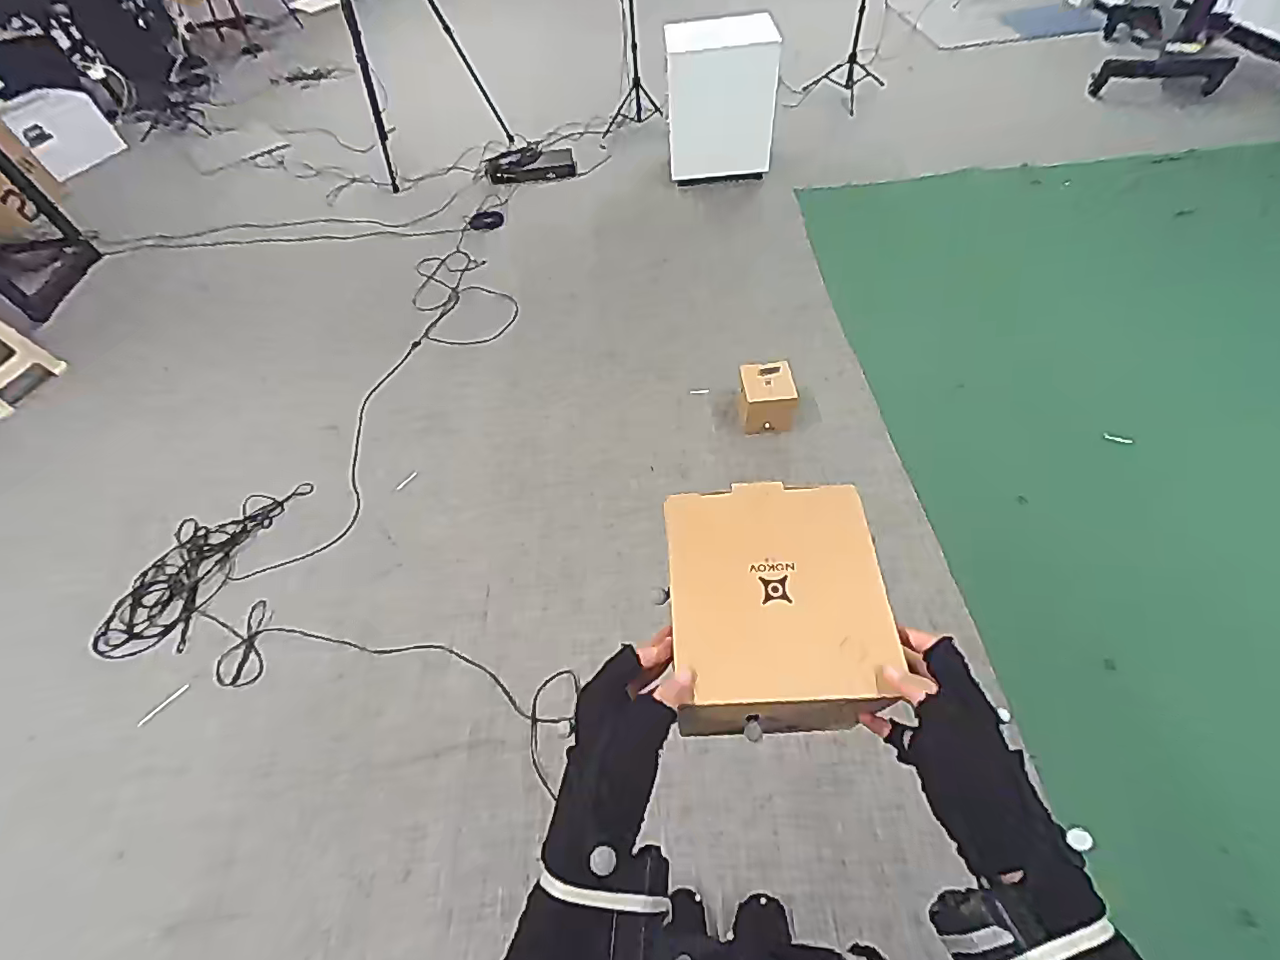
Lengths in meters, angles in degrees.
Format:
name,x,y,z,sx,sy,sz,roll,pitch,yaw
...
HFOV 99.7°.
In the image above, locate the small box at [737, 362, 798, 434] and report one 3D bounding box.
name,x,y,z,sx,sy,sz,roll,pitch,yaw
small box,0.432,-0.280,1.863,0.168,0.176,0.179,-5,55,2
